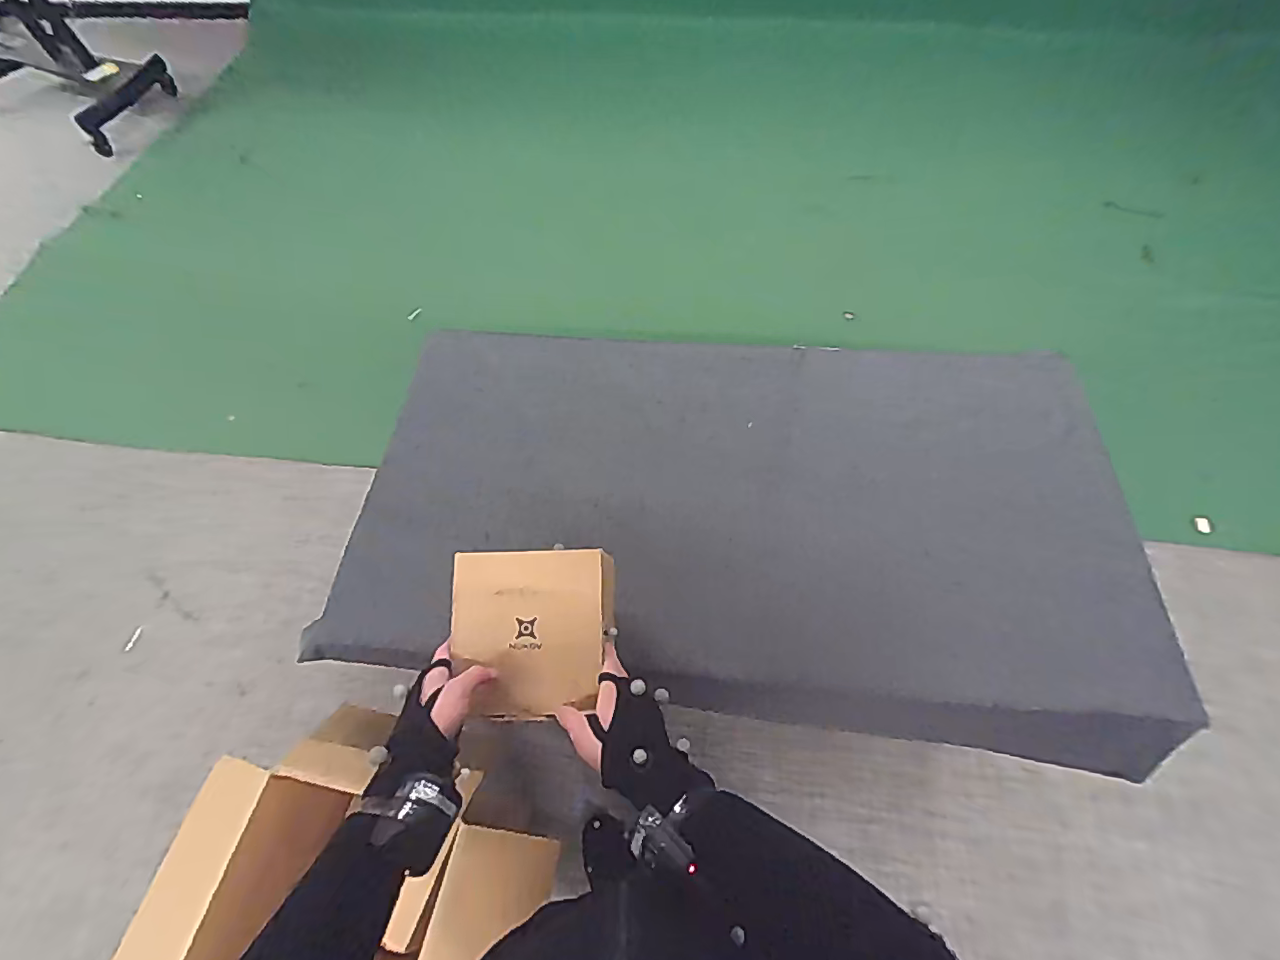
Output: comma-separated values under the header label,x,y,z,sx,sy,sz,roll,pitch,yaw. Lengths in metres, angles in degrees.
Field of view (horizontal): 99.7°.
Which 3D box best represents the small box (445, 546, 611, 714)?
label,x,y,z,sx,sy,sz,roll,pitch,yaw
small box,-0.124,0.175,0.662,0.168,0.176,0.179,-2,78,1
